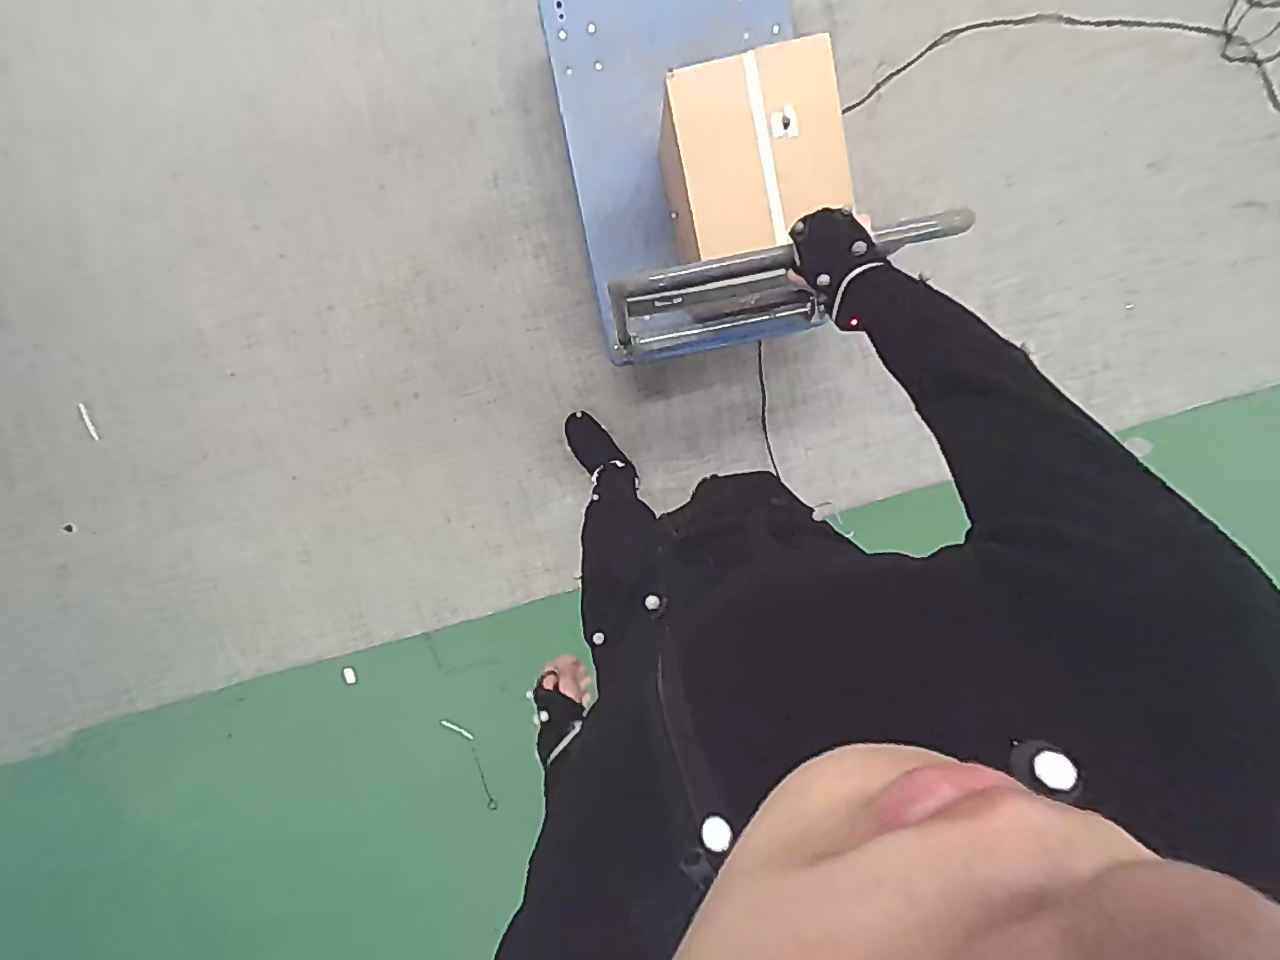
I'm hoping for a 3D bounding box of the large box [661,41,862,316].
[{"bbox_3d":[0.242,-0.616,1.185,0.320,0.320,0.408,-13,98,1],"label":"large box"}]
